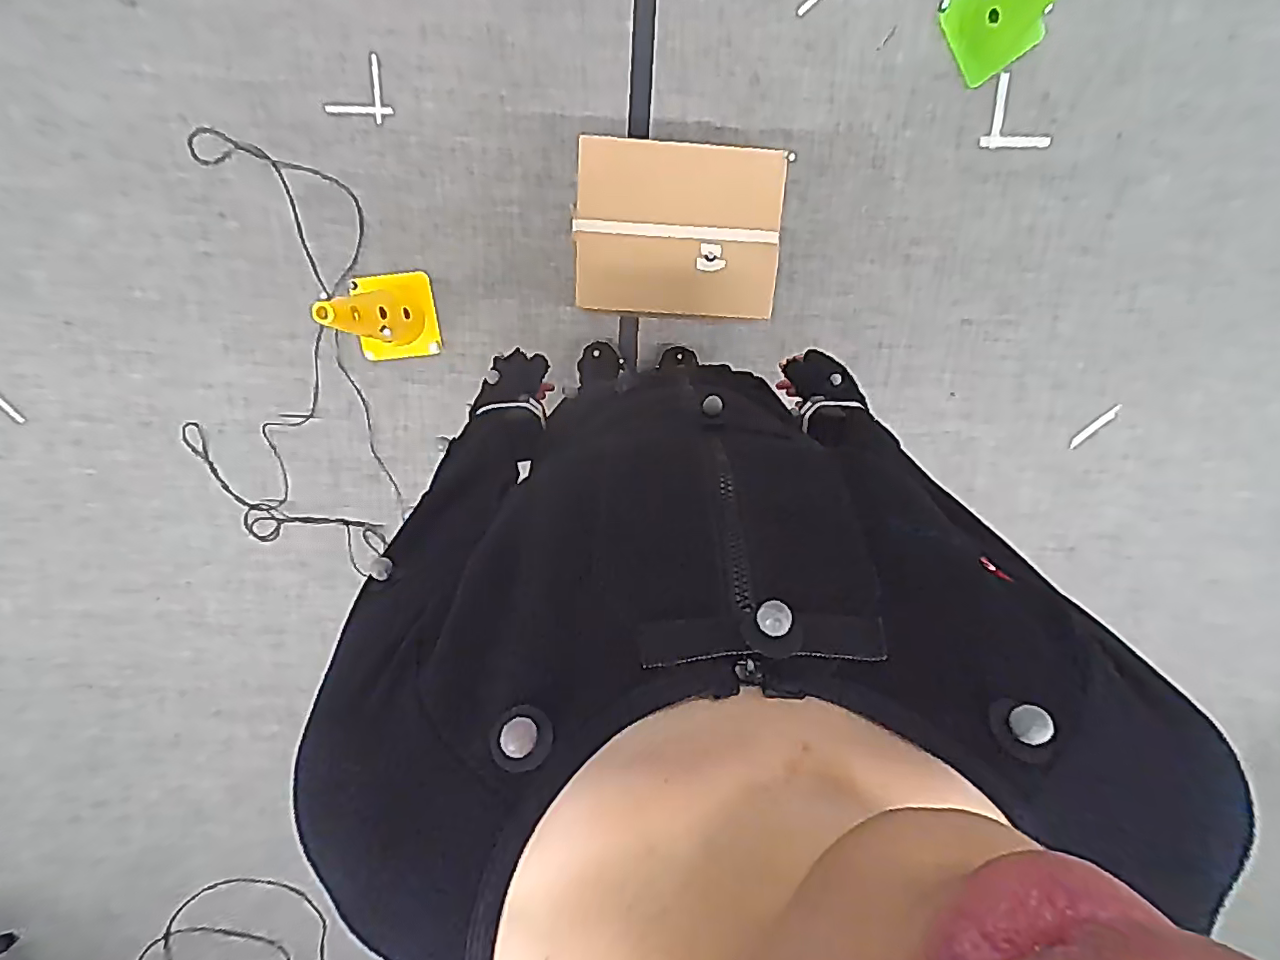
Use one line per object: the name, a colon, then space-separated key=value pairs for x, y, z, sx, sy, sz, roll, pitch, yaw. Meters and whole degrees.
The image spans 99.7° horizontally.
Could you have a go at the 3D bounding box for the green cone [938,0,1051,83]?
green cone: x=0.811 y=-1.006 z=1.068 sx=0.202 sy=0.368 sz=0.200 roll=-35 pitch=105 yaw=6

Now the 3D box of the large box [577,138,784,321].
large box: x=0.066 y=-0.529 z=1.211 sx=0.408 sy=0.320 sz=0.320 roll=2 pitch=105 yaw=-4
